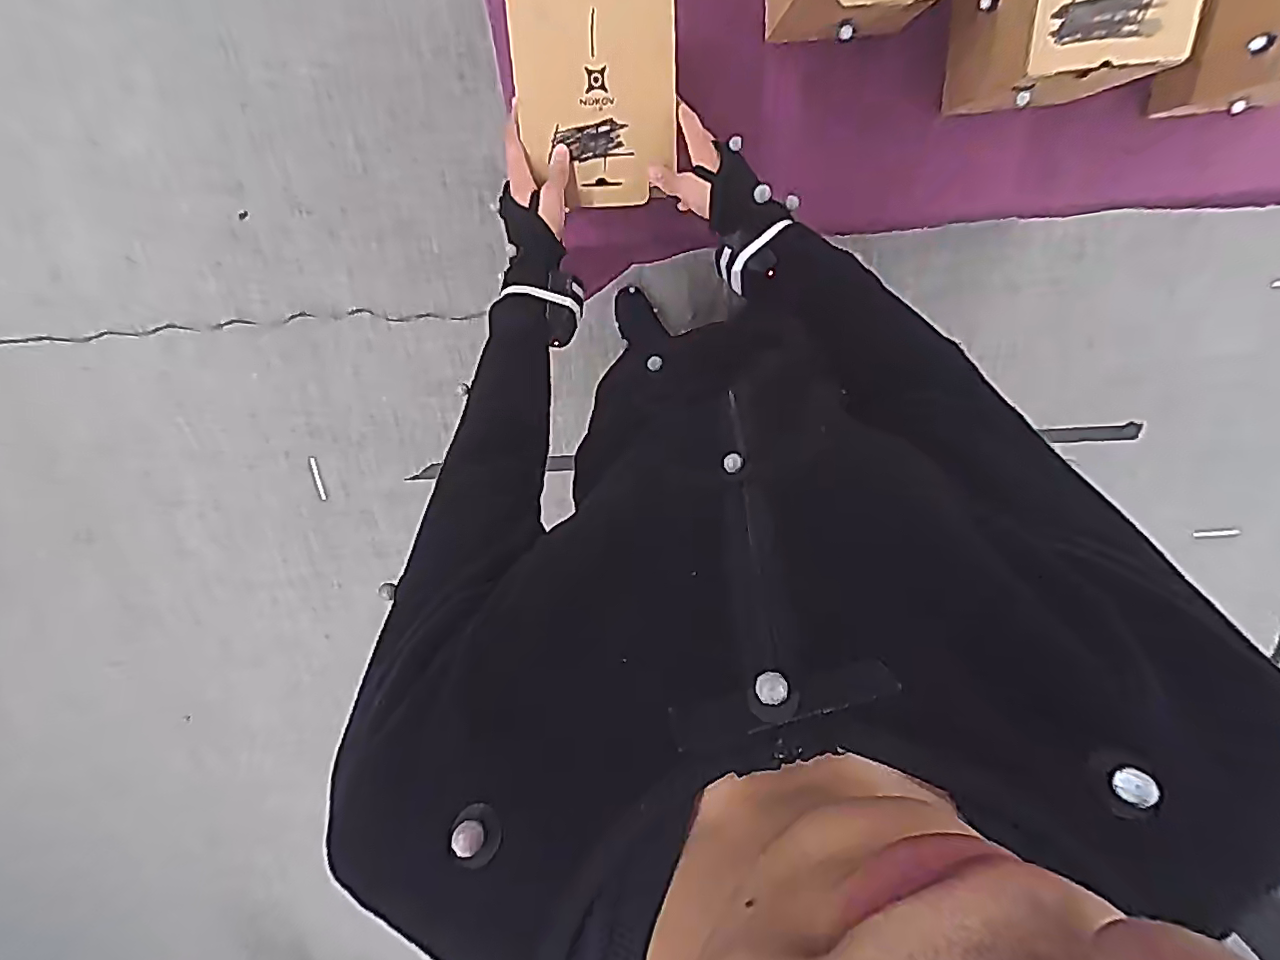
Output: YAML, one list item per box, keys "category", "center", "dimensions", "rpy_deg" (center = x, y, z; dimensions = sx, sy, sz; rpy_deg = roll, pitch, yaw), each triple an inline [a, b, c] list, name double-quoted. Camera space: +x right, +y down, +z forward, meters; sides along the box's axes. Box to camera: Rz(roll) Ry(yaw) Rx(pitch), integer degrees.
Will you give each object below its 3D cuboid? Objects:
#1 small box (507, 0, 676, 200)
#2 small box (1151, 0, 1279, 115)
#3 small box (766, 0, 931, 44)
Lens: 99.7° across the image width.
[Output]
- category: "small box"
  center: [-0.047, -0.426, 0.622]
  dimensions: [0.168, 0.176, 0.179]
  rpy_deg: [-3, 112, -1]
- category: "small box"
  center: [0.735, -0.536, 0.602]
  dimensions: [0.168, 0.176, 0.179]
  rpy_deg: [-6, 113, 1]
- category: "small box"
  center: [0.231, -0.594, 0.560]
  dimensions: [0.168, 0.176, 0.179]
  rpy_deg: [-5, 113, 1]
